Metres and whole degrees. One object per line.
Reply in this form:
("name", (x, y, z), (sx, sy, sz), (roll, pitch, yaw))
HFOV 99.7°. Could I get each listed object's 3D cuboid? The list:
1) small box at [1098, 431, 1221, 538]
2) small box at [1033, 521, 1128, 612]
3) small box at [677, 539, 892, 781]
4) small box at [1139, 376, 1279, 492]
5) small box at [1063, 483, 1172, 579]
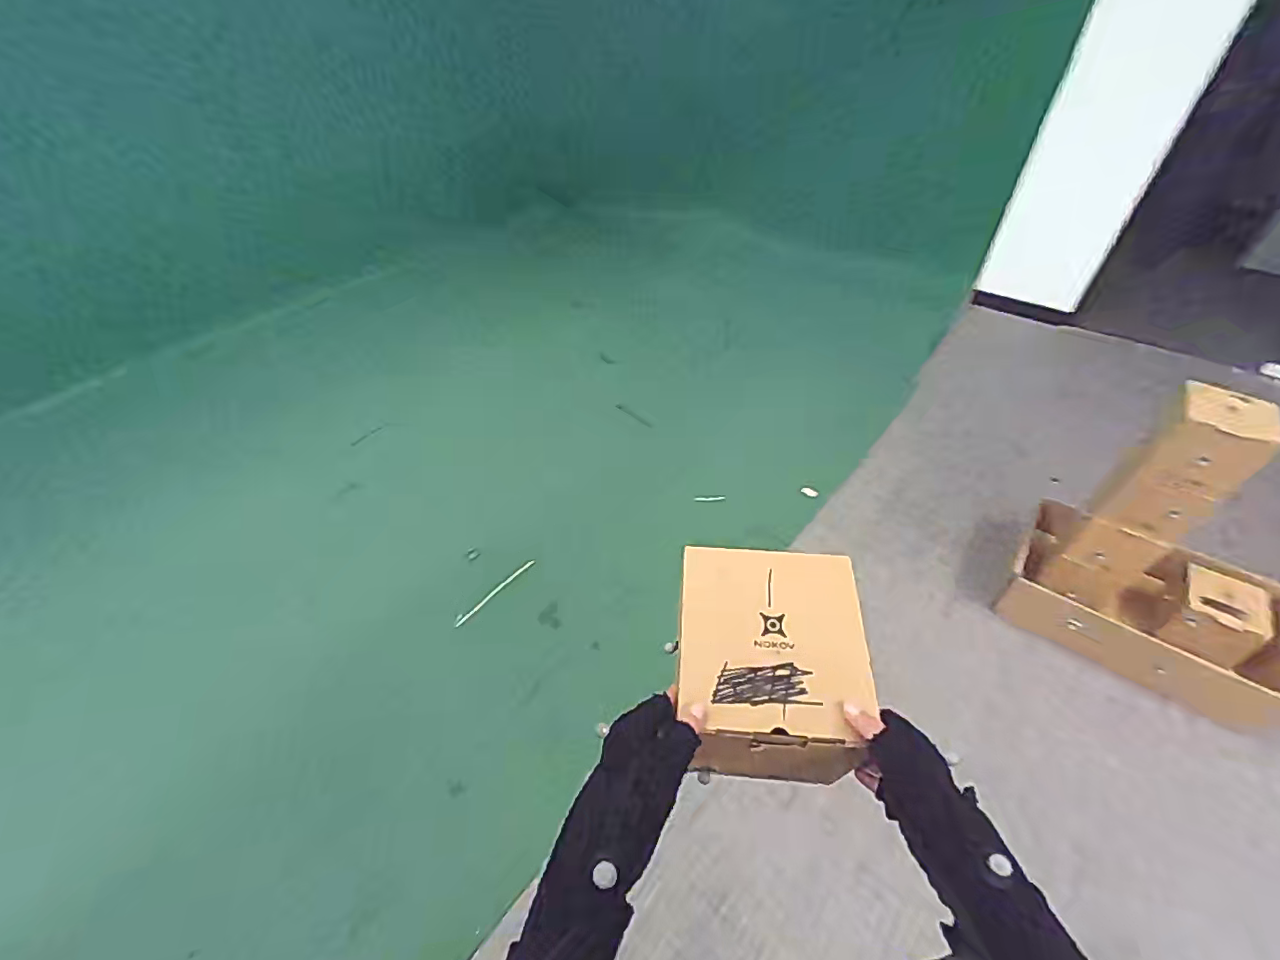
("small box", (1.295, 0.013, 1.356), (0.168, 0.176, 0.179), (28, 52, 24))
("small box", (1.295, 0.247, 1.583), (0.168, 0.176, 0.179), (30, 53, 27))
("small box", (0.130, 0.184, 0.540), (0.168, 0.176, 0.179), (7, 53, 4))
("small box", (1.298, -0.103, 1.240), (0.168, 0.176, 0.179), (28, 53, 23))
("small box", (1.294, 0.132, 1.468), (0.168, 0.176, 0.179), (29, 53, 25))
